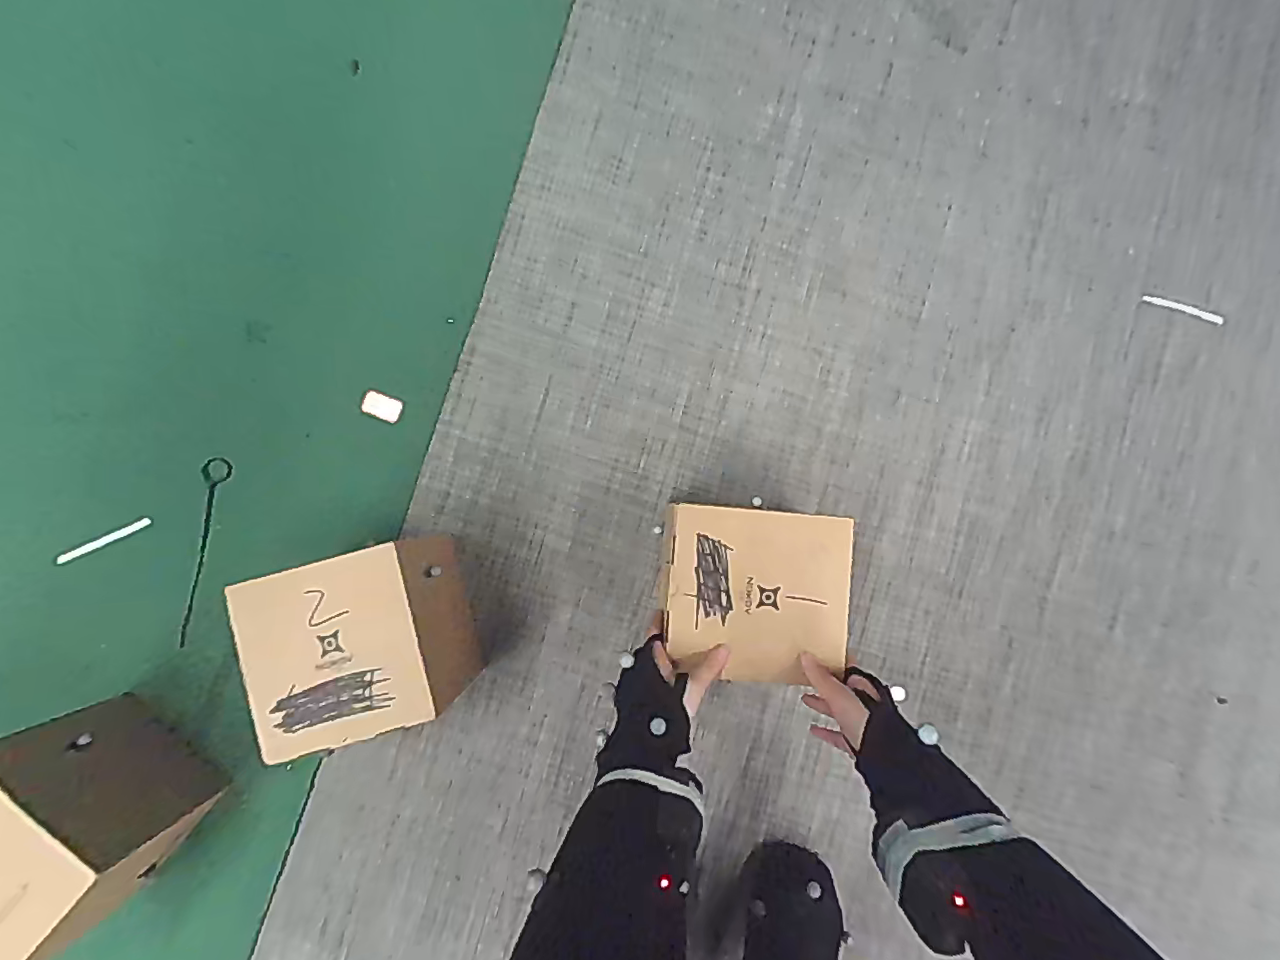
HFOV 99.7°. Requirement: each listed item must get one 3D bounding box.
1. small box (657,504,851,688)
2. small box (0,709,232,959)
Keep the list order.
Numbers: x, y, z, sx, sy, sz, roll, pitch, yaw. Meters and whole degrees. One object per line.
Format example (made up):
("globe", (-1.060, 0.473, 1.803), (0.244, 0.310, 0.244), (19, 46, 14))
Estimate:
("small box", (0.113, 0.117, 0.603), (0.179, 0.176, 0.168), (5, 87, -1))
("small box", (-0.609, 0.376, 0.580), (0.179, 0.176, 0.168), (41, 87, 2))
